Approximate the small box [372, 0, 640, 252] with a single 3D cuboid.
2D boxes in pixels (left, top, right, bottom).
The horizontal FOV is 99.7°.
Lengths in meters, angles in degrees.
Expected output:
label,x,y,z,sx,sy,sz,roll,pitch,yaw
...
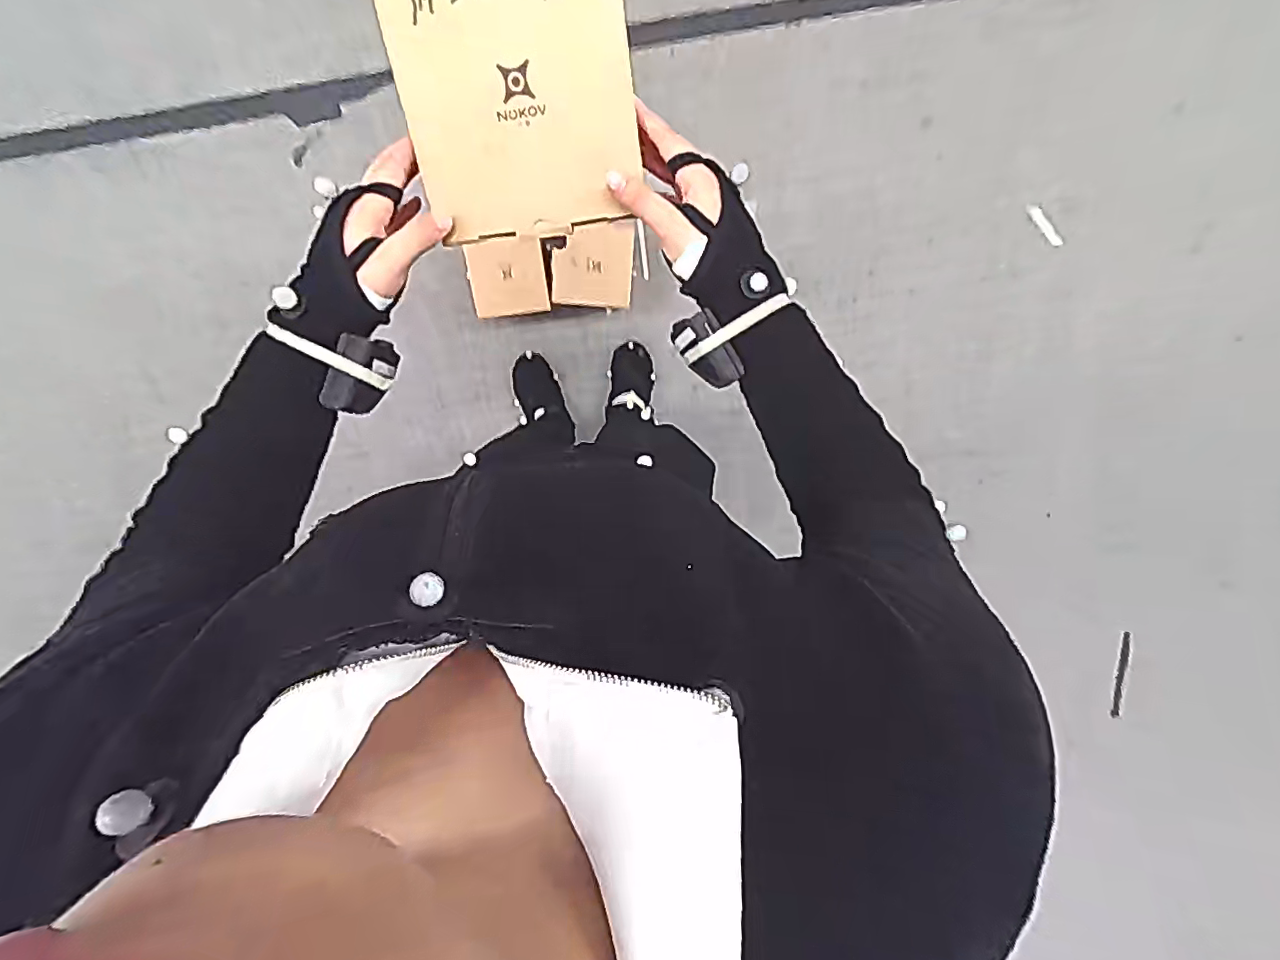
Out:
label,x,y,z,sx,sy,sz,roll,pitch,yaw
small box,-0.089,-0.303,0.457,0.168,0.176,0.179,-7,117,2
